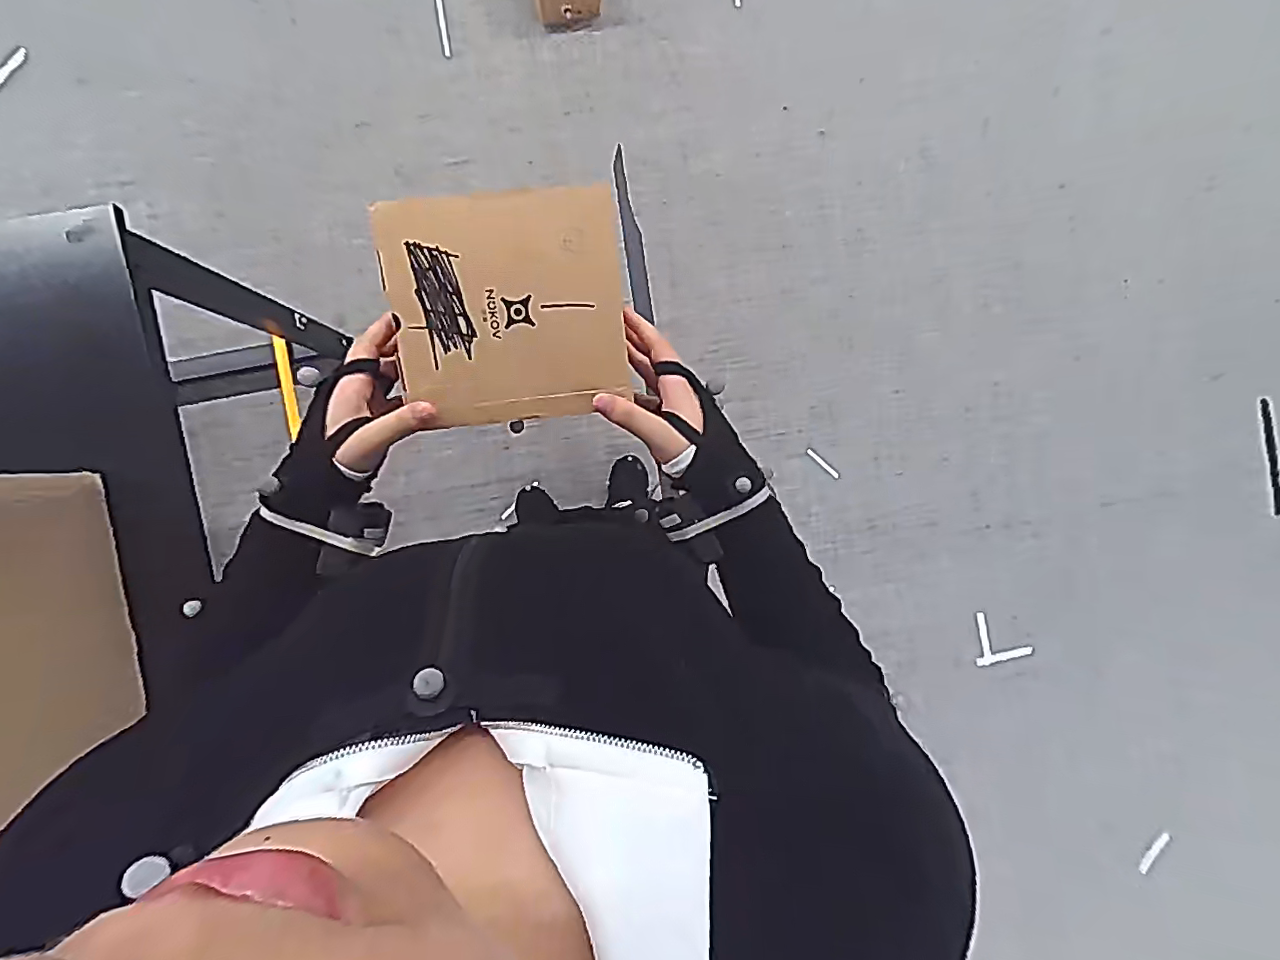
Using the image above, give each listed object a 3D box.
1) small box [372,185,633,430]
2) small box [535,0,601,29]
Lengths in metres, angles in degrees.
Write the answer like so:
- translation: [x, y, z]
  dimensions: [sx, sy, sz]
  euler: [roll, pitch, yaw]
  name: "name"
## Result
- translation: [-0.101, -0.140, 0.478]
  dimensions: [0.179, 0.176, 0.168]
  euler: [-7, 102, -2]
  name: "small box"
- translation: [-0.199, -1.305, 1.367]
  dimensions: [0.168, 0.176, 0.179]
  euler: [-17, 94, -3]
  name: "small box"
